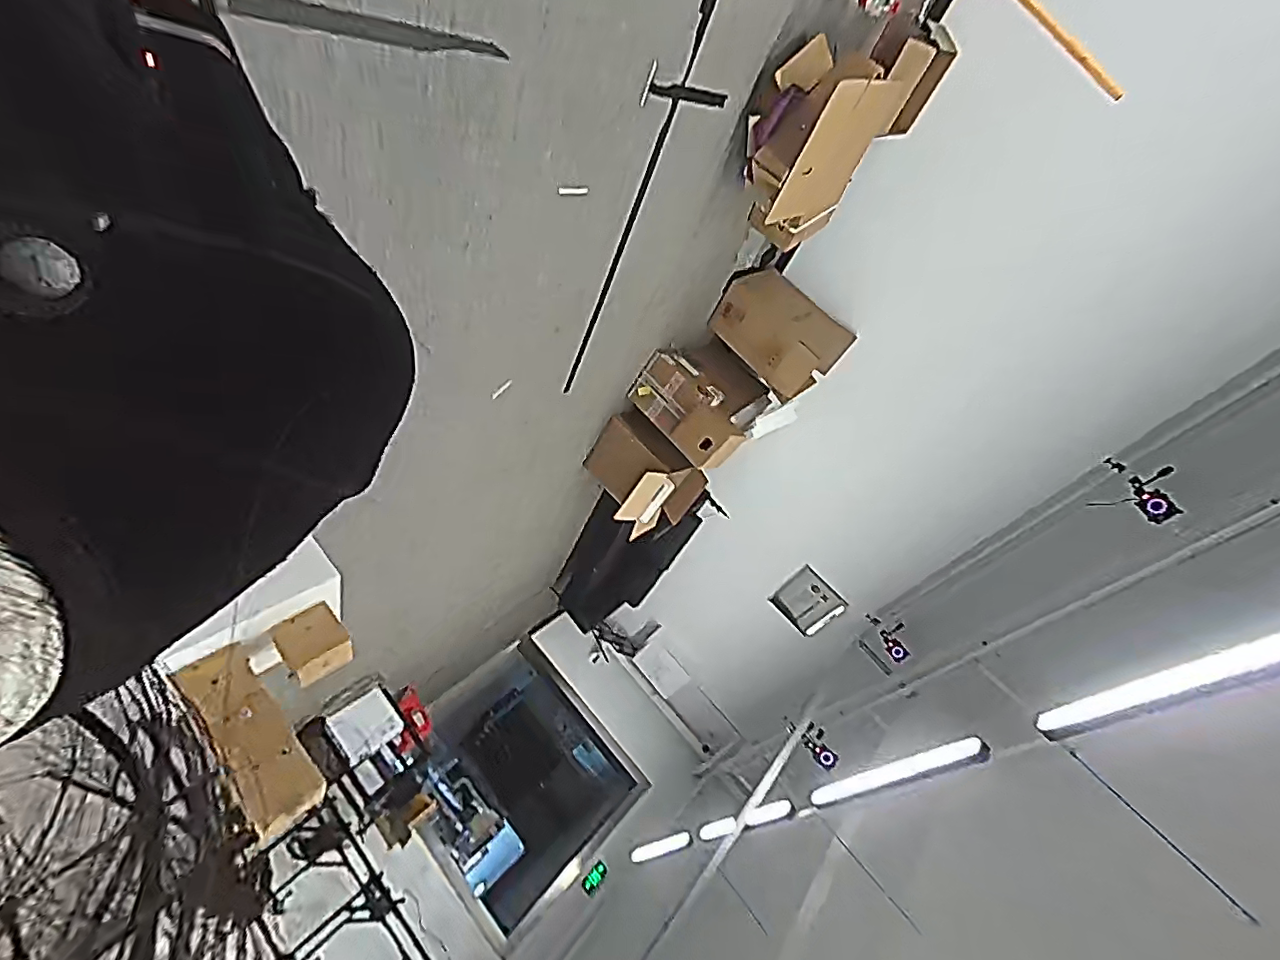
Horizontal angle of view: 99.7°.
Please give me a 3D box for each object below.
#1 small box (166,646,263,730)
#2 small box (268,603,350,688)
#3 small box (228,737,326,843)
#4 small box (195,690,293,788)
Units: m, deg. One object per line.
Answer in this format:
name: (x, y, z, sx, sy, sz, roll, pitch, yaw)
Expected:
small box: (-1.207, 0.604, 1.542, 0.168, 0.176, 0.179, -32, 161, -45)
small box: (-1.056, 0.524, 1.732, 0.168, 0.176, 0.179, -32, 161, -41)
small box: (-0.987, 0.836, 1.470, 0.168, 0.176, 0.179, -32, 163, -46)
small box: (-1.100, 0.723, 1.510, 0.168, 0.176, 0.179, -33, 162, -45)
